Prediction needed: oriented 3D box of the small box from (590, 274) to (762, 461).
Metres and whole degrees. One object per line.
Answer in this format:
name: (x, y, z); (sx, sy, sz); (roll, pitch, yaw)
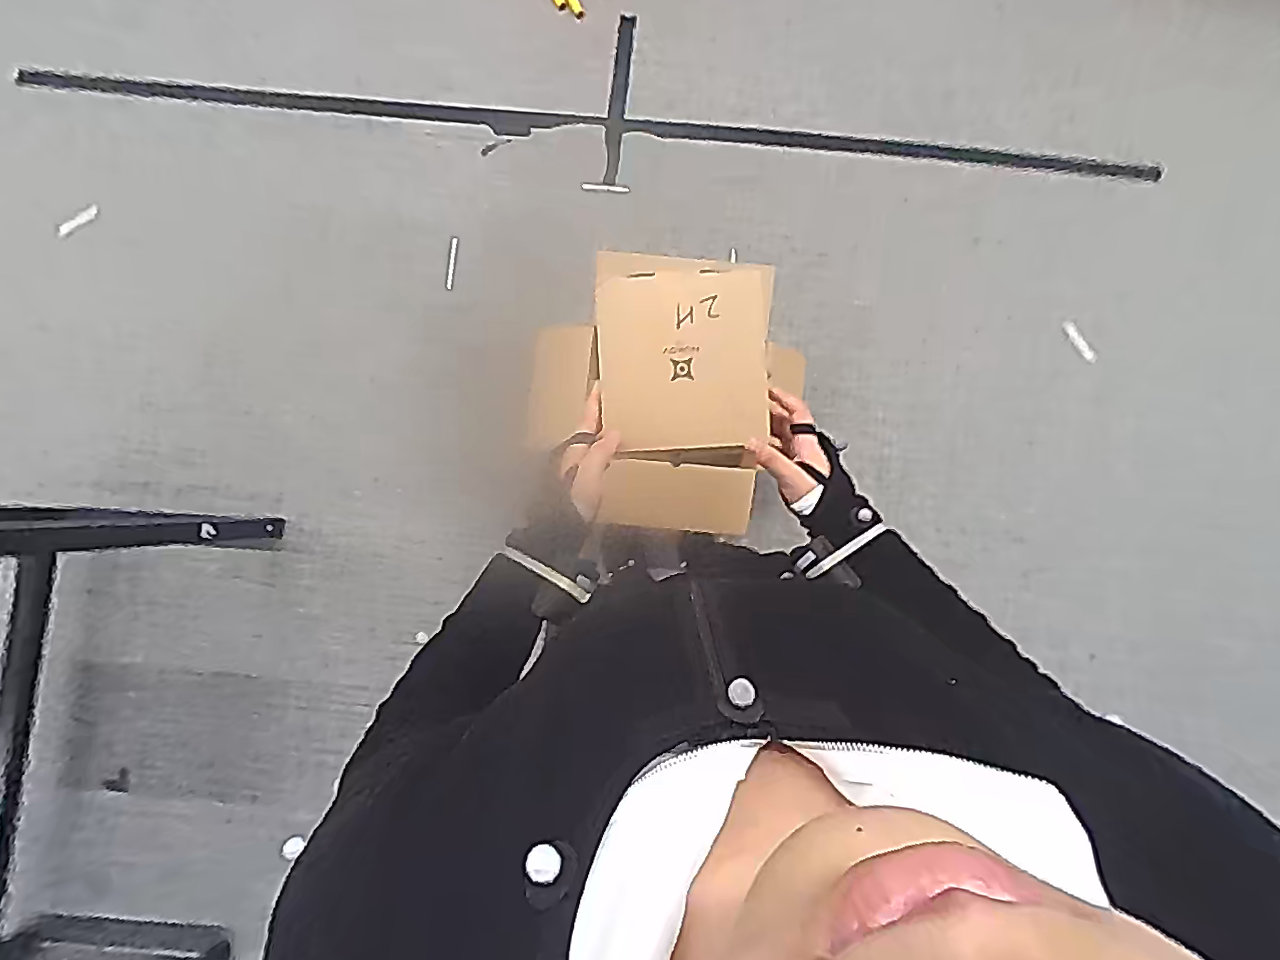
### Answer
small box: (0.035, -0.112, 0.609); (0.168, 0.176, 0.179); (-3, 89, -1)
